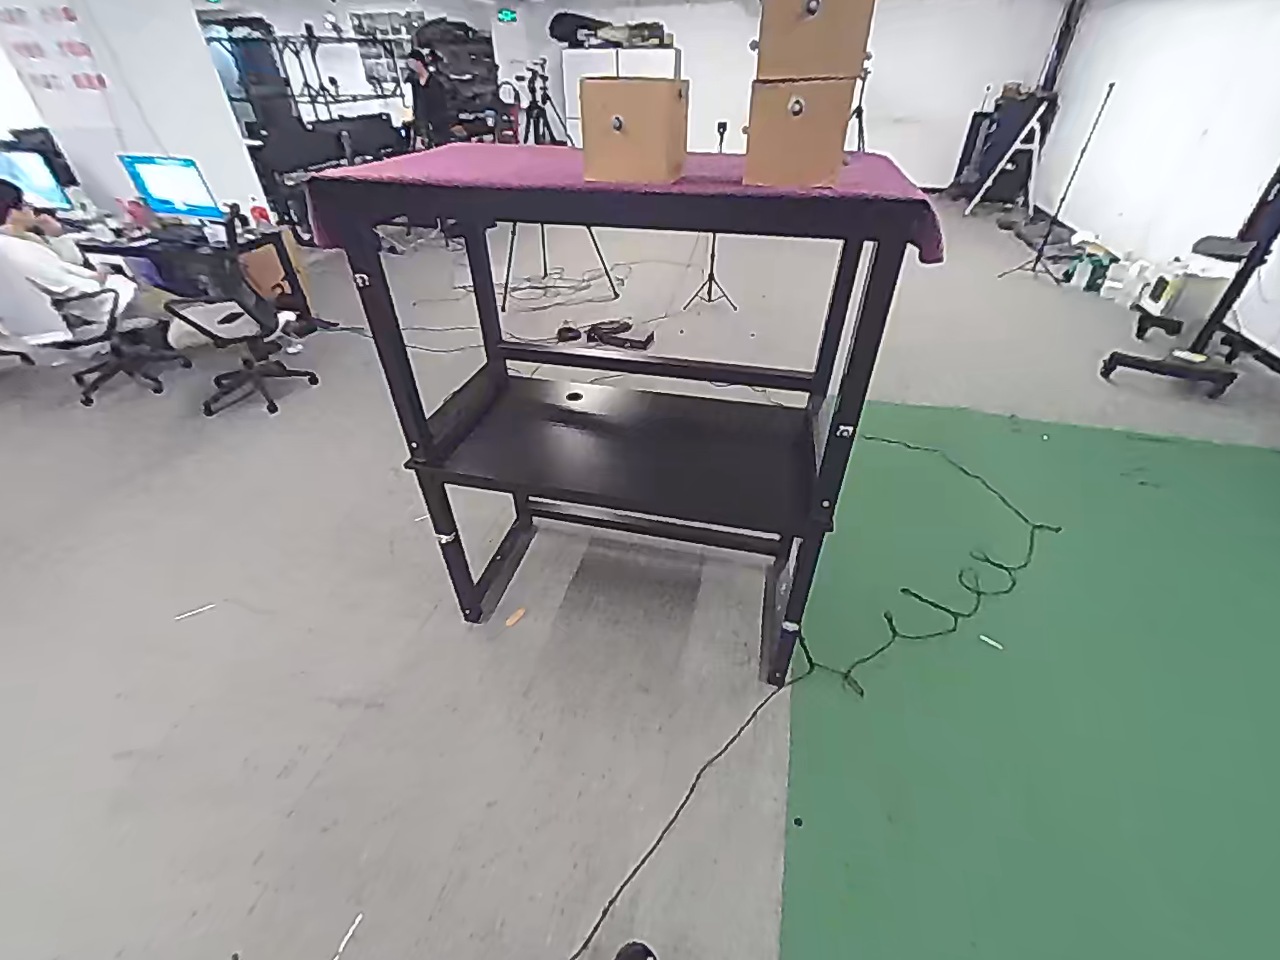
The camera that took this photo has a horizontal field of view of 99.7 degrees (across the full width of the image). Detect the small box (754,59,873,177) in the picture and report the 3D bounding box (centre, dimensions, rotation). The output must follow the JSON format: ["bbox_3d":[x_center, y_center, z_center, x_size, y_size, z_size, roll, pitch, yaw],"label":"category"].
[{"bbox_3d":[0.313,-0.658,0.986,0.179,0.176,0.168,12,39,14],"label":"small box"}]

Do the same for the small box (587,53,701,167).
[{"bbox_3d":[0.011,-0.705,1.034,0.179,0.176,0.168,11,39,13],"label":"small box"}]
